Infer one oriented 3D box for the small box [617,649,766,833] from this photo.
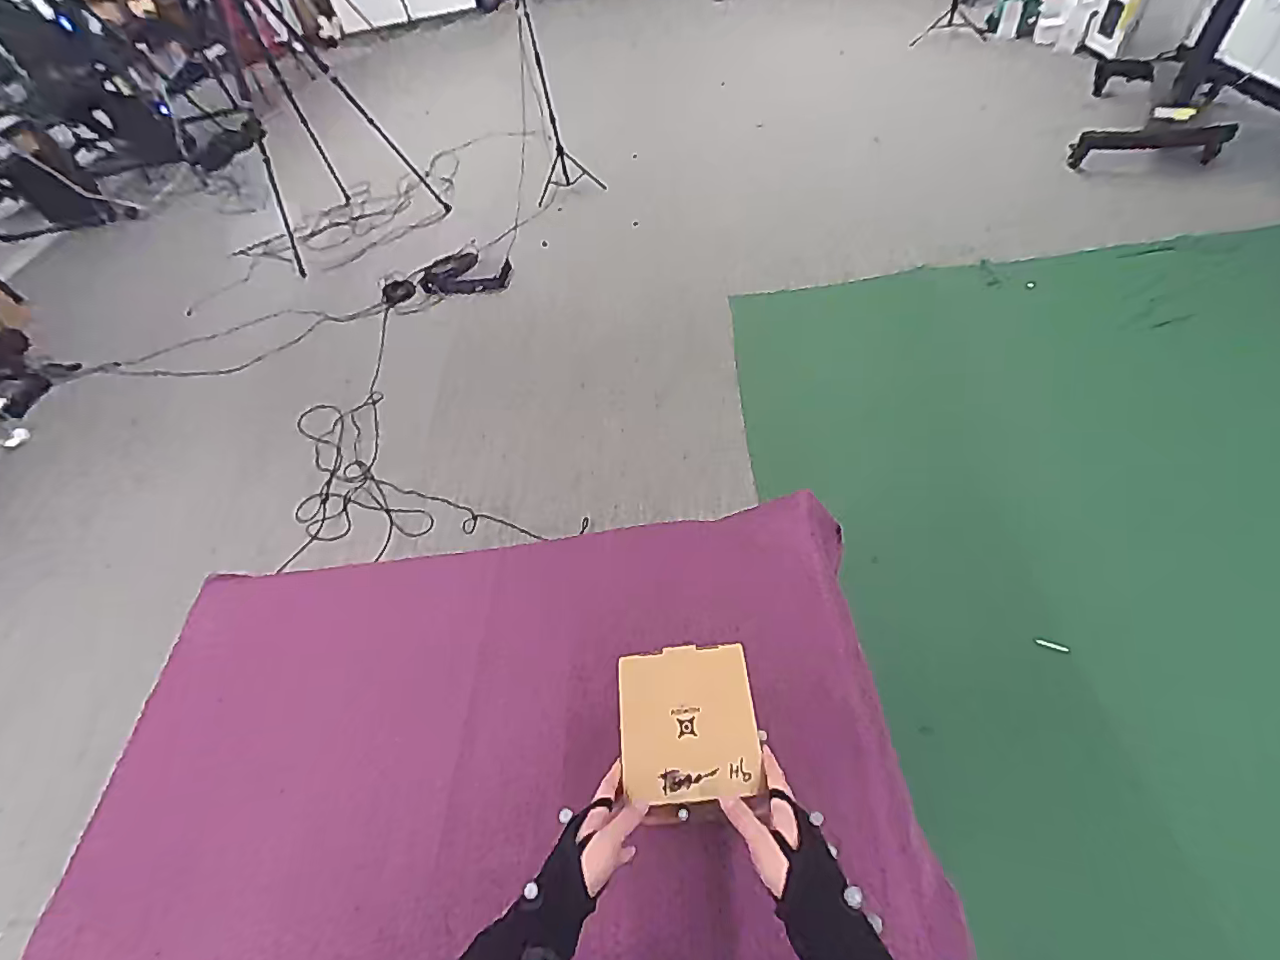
[{"bbox_3d":[0.066,0.344,0.710,0.168,0.176,0.179,-9,50,6],"label":"small box"}]
